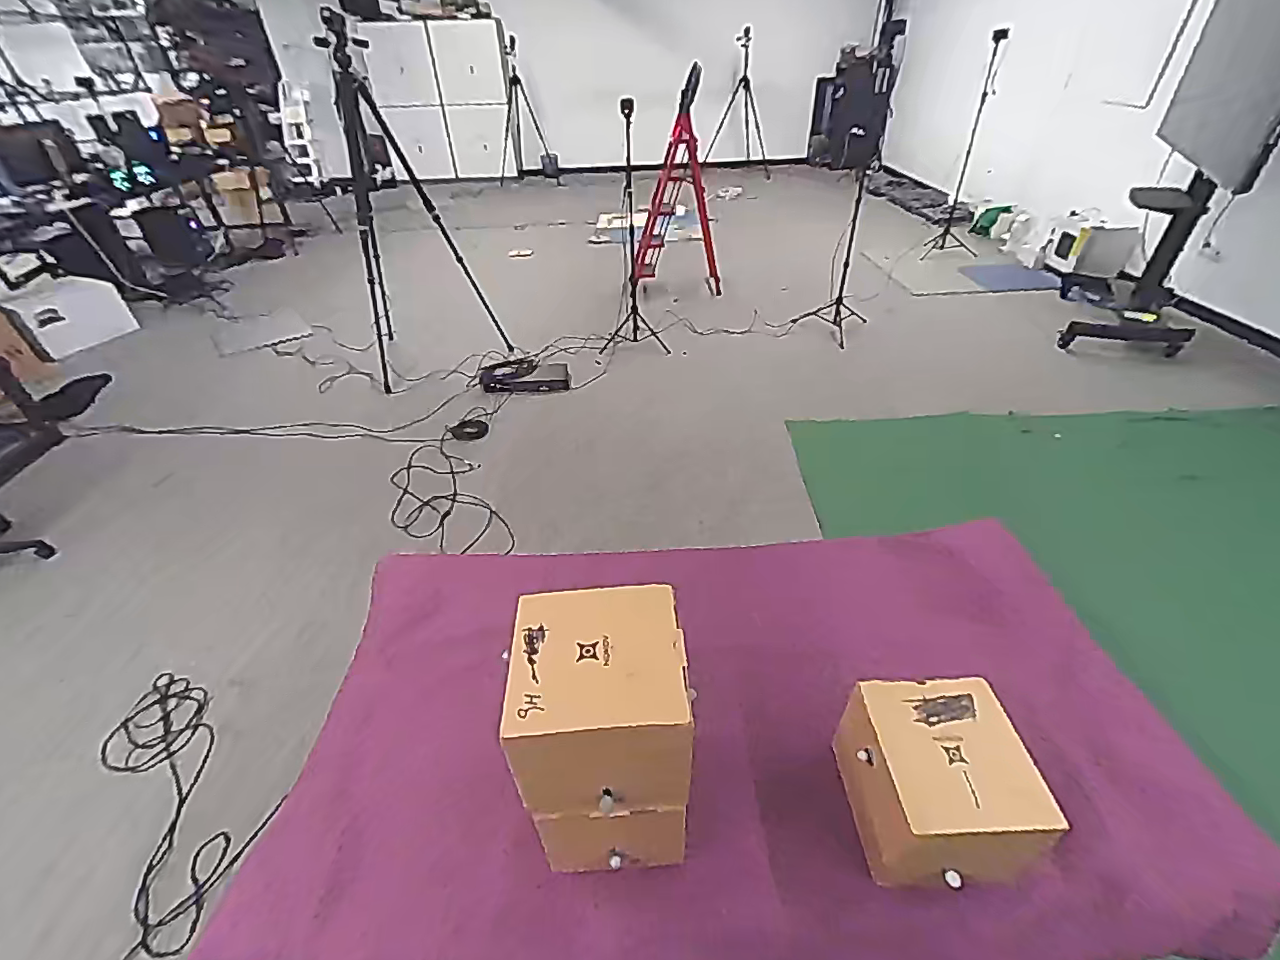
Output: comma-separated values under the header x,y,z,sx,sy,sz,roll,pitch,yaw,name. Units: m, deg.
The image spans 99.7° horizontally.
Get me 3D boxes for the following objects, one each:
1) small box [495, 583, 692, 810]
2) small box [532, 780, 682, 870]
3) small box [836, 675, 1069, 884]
x,y,z,sx,sy,sz,roll,pitch,yaw,name
-0.044,0.232,0.586,0.179,0.176,0.168,-3,37,-2,small box
-0.037,0.360,0.687,0.168,0.176,0.179,-4,37,-1,small box
0.357,0.365,0.665,0.168,0.176,0.179,-2,39,0,small box
